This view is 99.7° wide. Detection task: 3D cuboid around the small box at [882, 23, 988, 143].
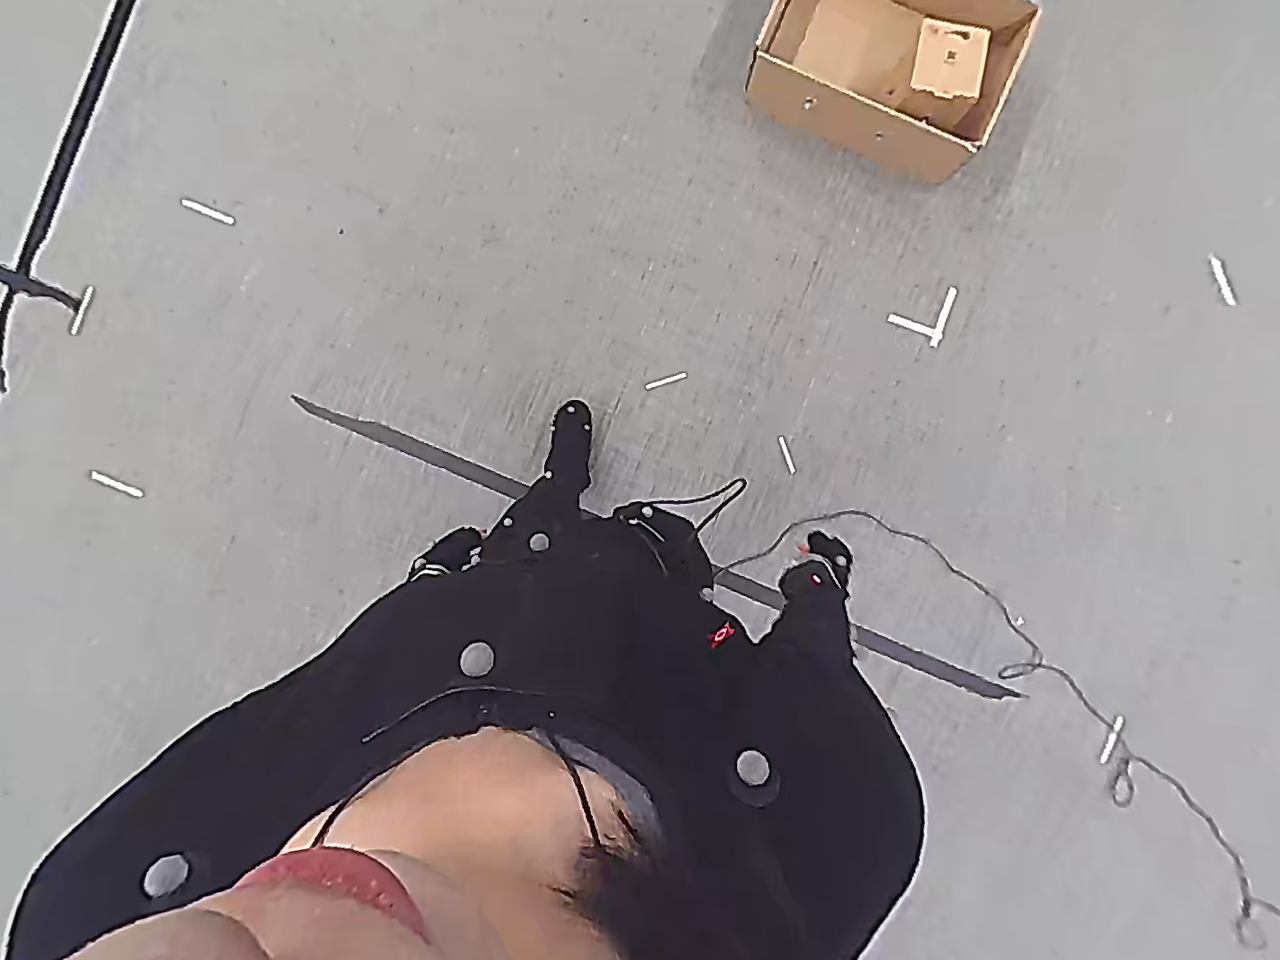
[{"bbox_3d":[0.741,-1.001,1.380,0.168,0.176,0.179,11,90,0],"label":"small box"}]
